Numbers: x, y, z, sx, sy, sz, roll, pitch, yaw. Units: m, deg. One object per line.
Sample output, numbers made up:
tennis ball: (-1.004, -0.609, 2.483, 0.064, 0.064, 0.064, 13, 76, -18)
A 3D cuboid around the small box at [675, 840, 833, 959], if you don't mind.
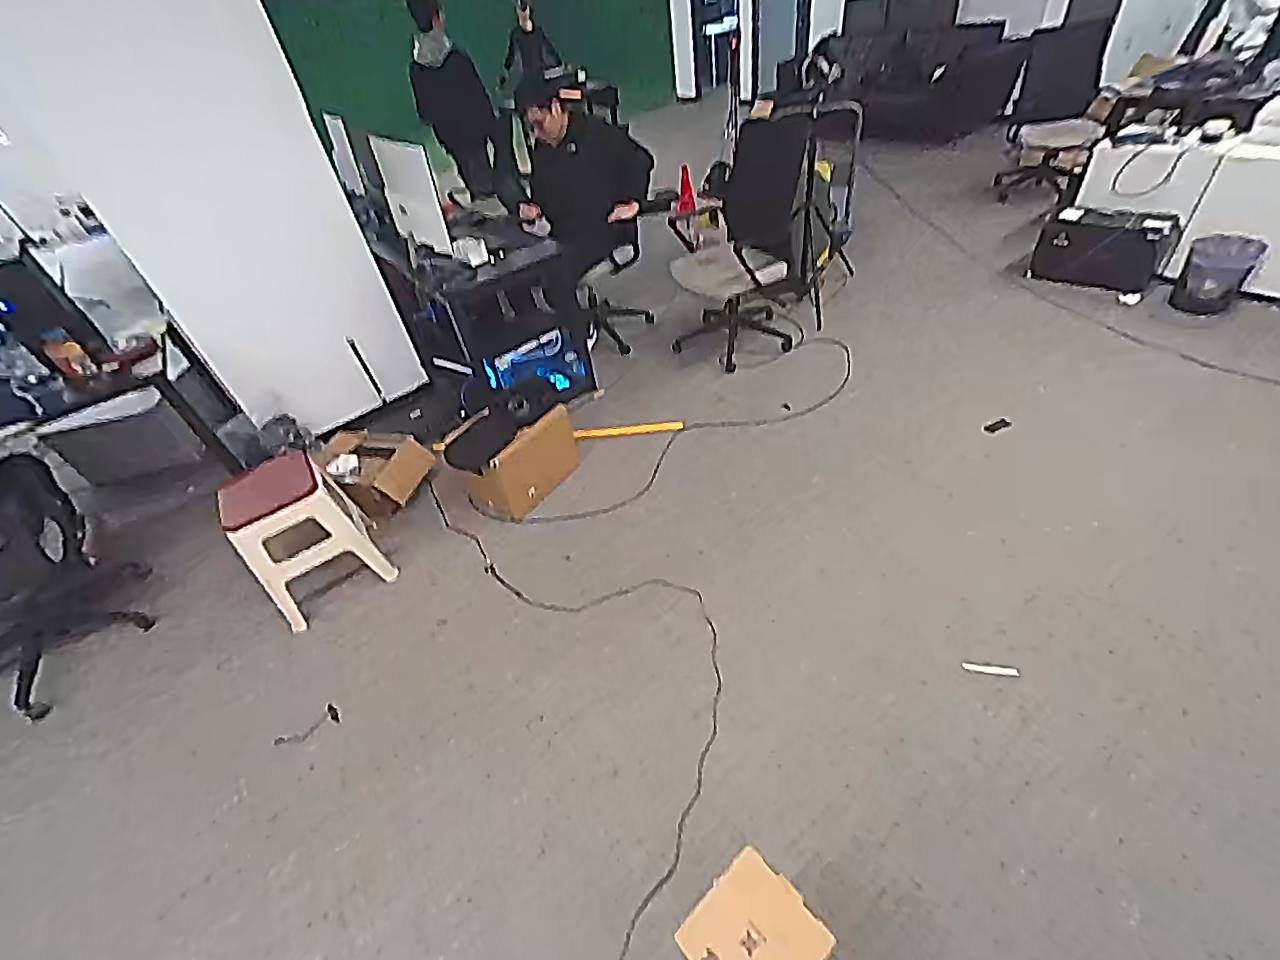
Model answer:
small box: (0.173, 0.720, 0.847, 0.179, 0.176, 0.168, -35, 48, -26)
